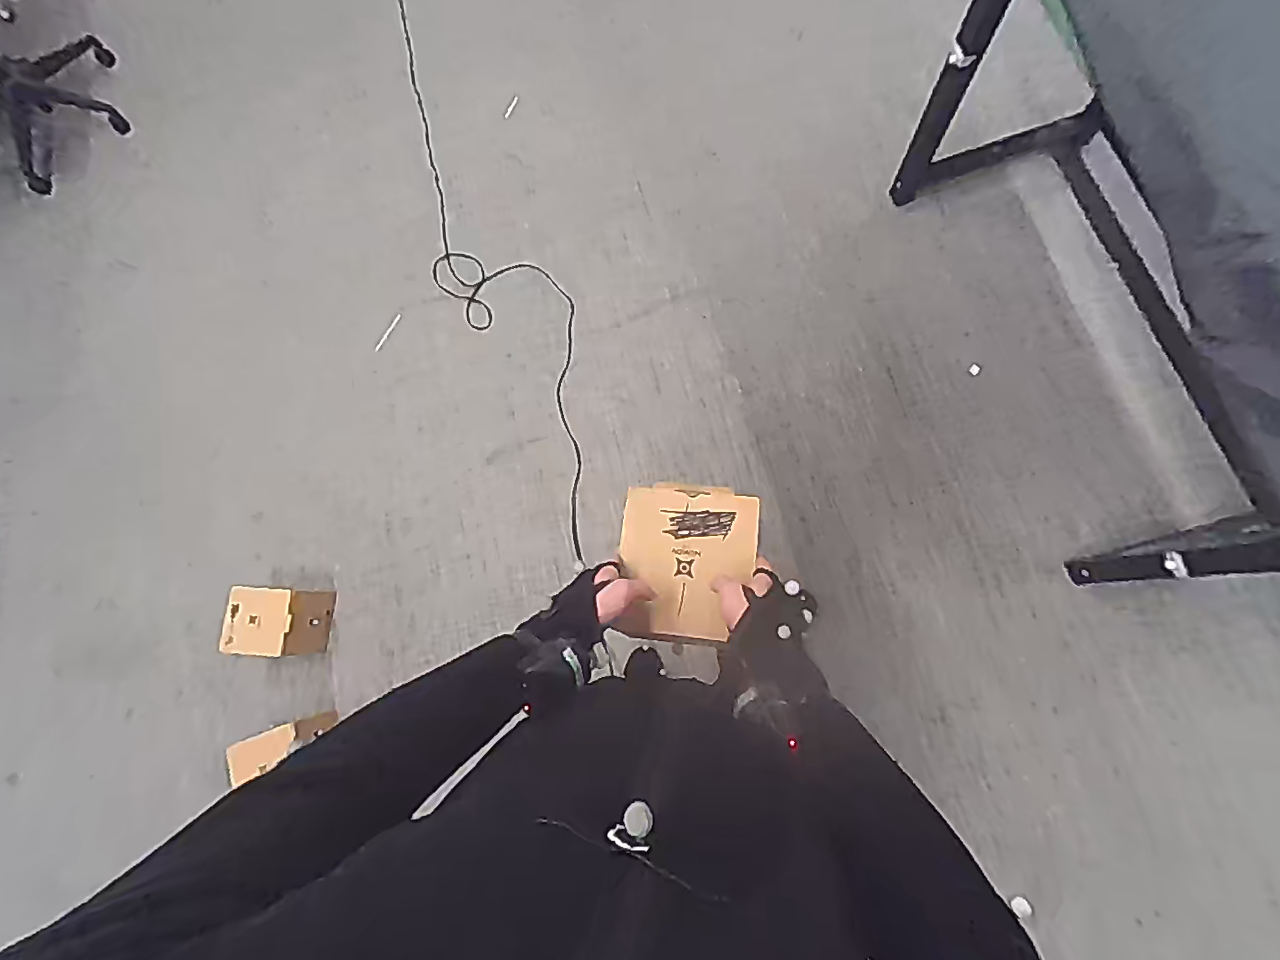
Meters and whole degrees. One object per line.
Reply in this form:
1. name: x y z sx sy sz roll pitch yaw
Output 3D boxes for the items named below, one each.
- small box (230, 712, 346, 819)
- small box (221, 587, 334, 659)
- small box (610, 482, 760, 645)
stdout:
1. small box: -0.868 0.703 1.352 0.179 0.176 0.168 -23 75 3
2. small box: -0.948 0.371 1.430 0.179 0.176 0.168 2 79 7
3. small box: 0.064 0.114 0.708 0.168 0.176 0.179 3 72 9
